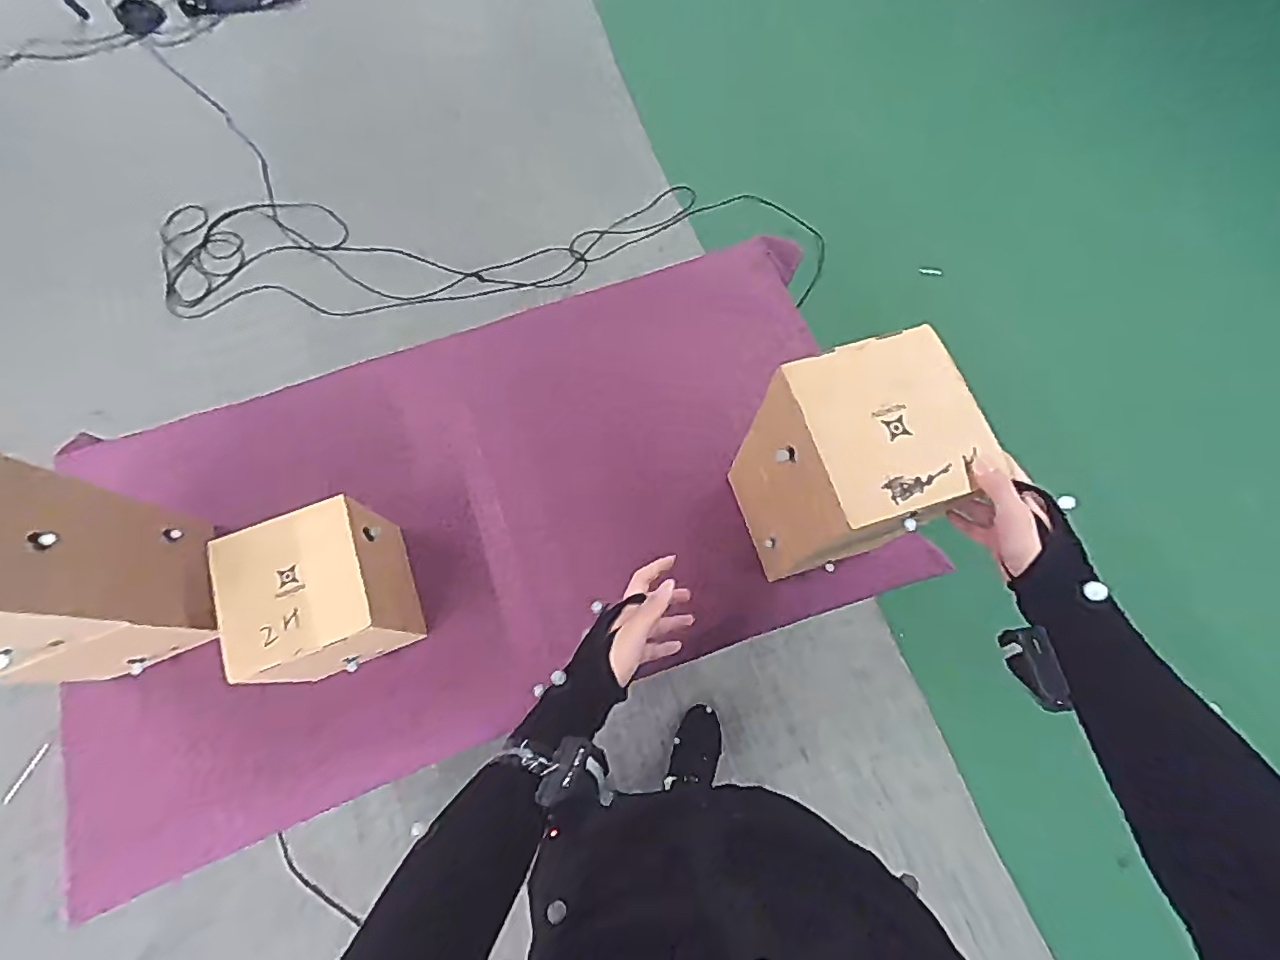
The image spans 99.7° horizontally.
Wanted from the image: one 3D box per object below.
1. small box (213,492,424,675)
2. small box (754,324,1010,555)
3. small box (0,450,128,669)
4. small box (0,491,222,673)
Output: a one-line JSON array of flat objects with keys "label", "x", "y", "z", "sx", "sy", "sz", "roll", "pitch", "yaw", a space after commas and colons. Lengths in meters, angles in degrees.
[{"label": "small box", "x": -0.408, "y": 0.142, "z": 0.709, "sx": 0.168, "sy": 0.176, "sz": 0.179, "roll": -20, "pitch": 73, "yaw": -6}, {"label": "small box", "x": 0.238, "y": -0.033, "z": 0.588, "sx": 0.168, "sy": 0.176, "sz": 0.179, "roll": -16, "pitch": 73, "yaw": -4}, {"label": "small box", "x": -0.689, "y": 0.087, "z": 0.557, "sx": 0.168, "sy": 0.176, "sz": 0.179, "roll": -22, "pitch": 73, "yaw": -6}, {"label": "small box", "x": -0.689, "y": 0.141, "z": 0.712, "sx": 0.168, "sy": 0.176, "sz": 0.179, "roll": -22, "pitch": 73, "yaw": -6}]
